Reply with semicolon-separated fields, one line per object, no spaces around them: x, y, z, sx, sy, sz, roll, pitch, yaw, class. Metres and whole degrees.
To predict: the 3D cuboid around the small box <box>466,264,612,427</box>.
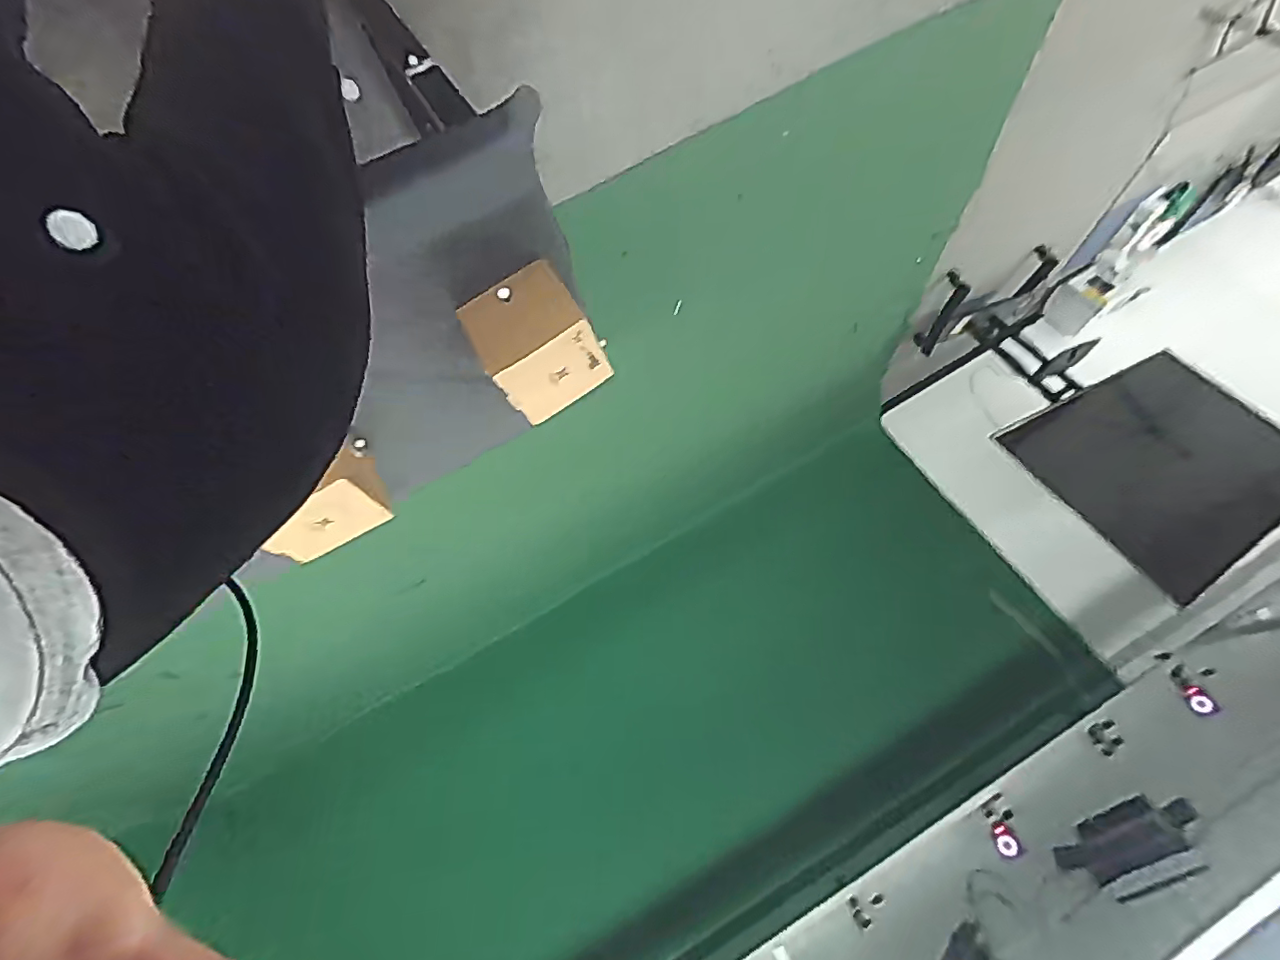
-0.179;-0.230;0.937;0.179;0.176;0.168;-32;155;0;small box

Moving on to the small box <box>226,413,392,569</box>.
-0.567;0.019;0.927;0.179;0.176;0.168;-31;155;-9;small box

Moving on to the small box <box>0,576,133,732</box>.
-0.992;0.281;0.878;0.179;0.176;0.168;-29;154;-9;small box
